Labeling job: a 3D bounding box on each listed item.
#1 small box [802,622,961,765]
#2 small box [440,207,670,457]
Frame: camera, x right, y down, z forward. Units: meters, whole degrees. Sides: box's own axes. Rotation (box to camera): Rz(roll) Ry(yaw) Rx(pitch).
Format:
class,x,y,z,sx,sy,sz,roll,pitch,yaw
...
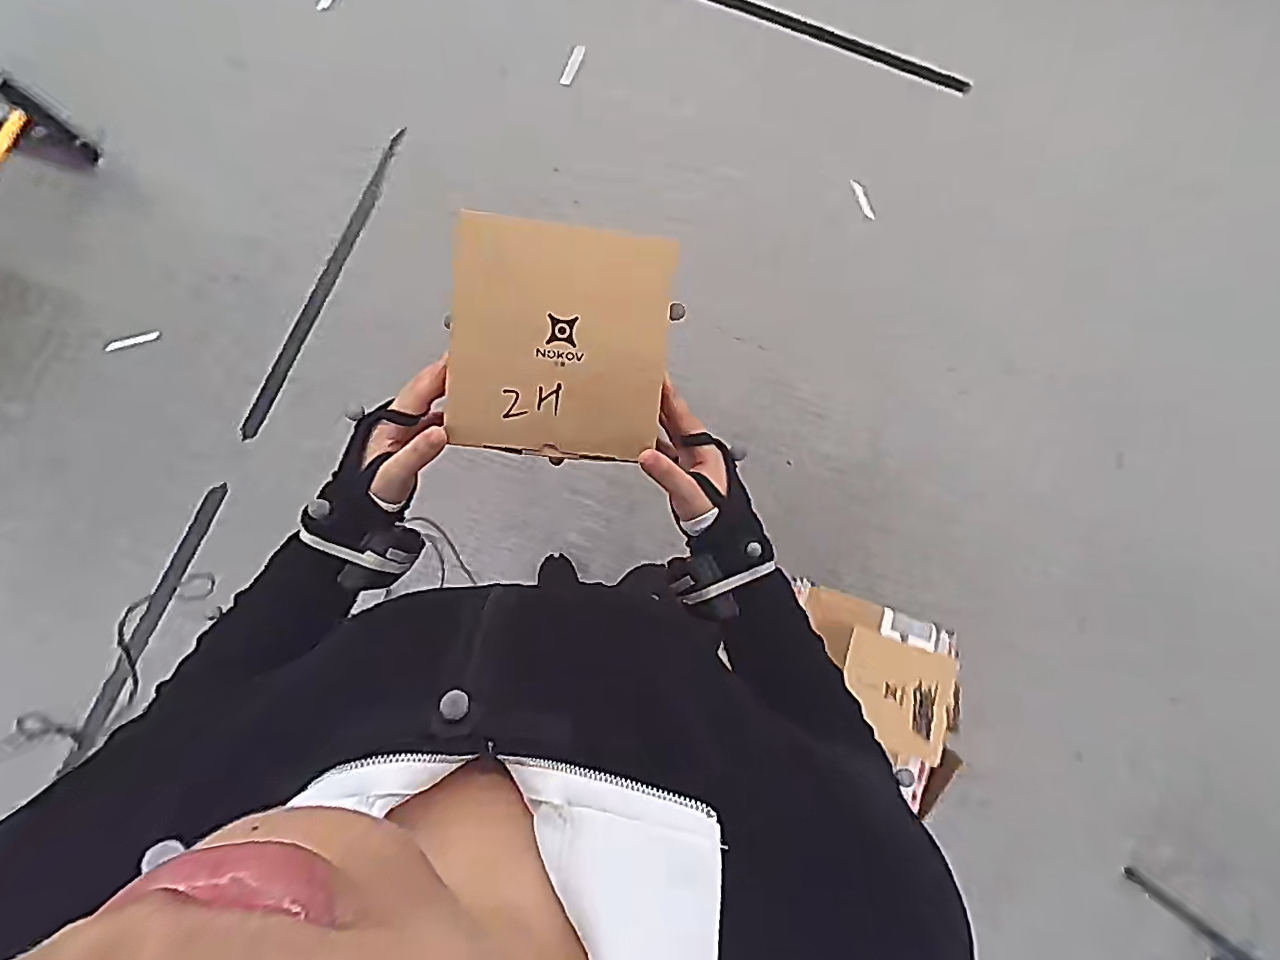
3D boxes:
class,x,y,z,sx,sy,sz,roll,pitch,yaw
small box,0.401,0.350,0.923,0.179,0.176,0.168,18,80,4
small box,-0.073,-0.117,0.493,0.168,0.176,0.179,4,95,-5
